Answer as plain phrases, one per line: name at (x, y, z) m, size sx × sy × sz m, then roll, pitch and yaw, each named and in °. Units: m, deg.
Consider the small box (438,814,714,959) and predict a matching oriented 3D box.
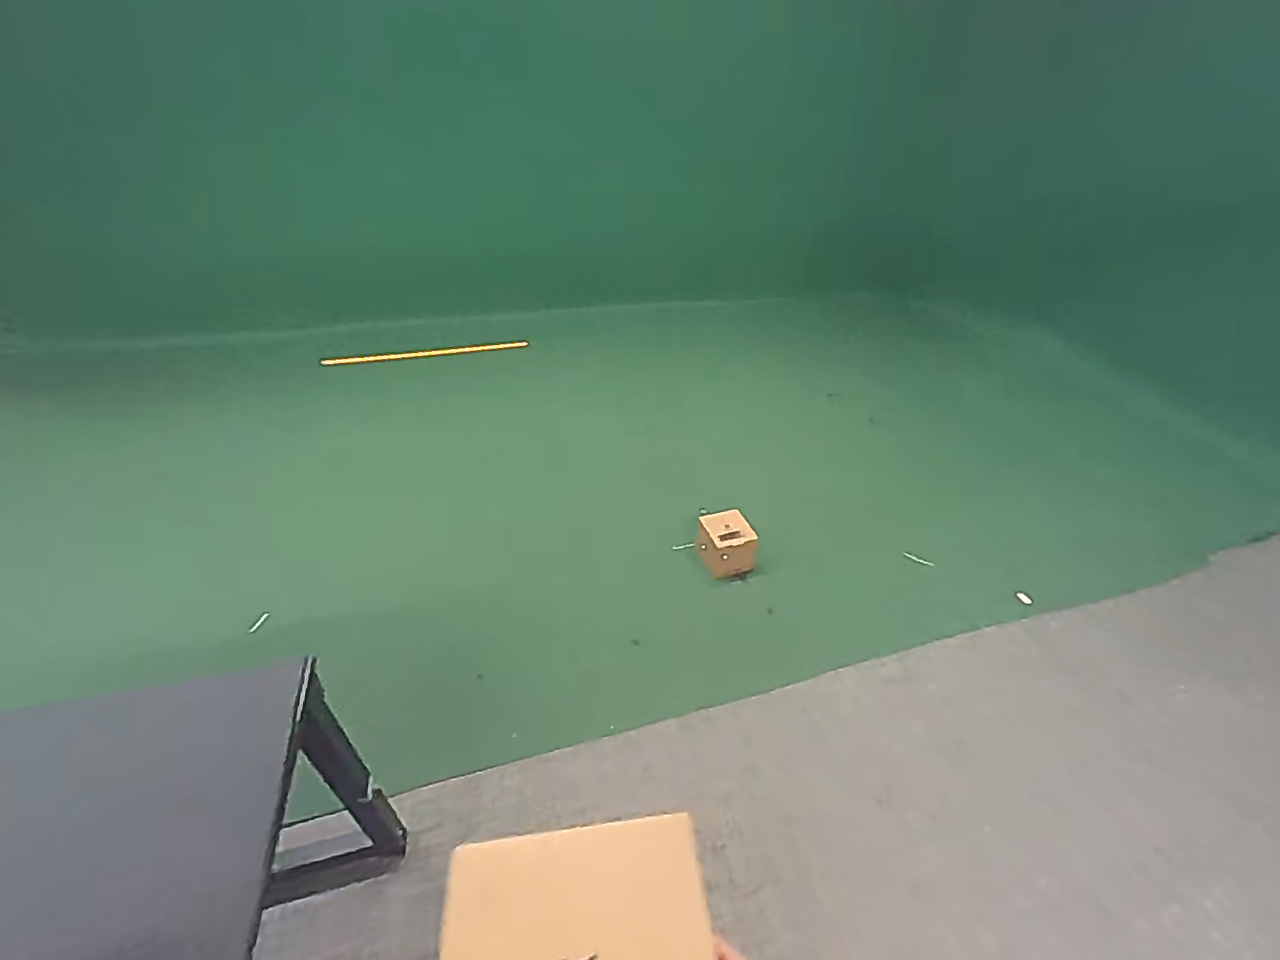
small box at (-0.037, 0.359, 0.351) m, size 0.168 × 0.176 × 0.179 m, roll -5°, pitch 35°, yaw -7°
